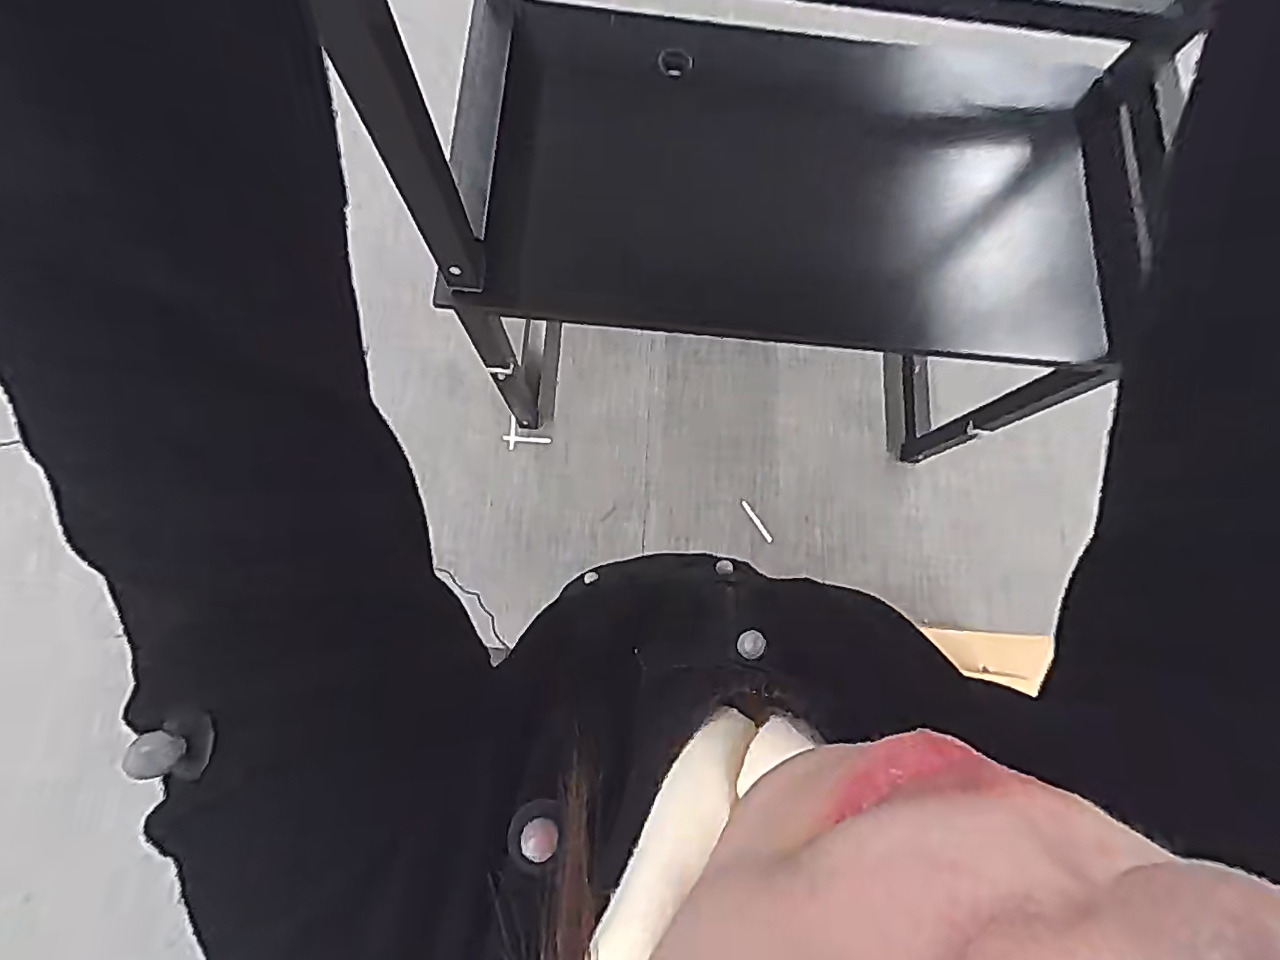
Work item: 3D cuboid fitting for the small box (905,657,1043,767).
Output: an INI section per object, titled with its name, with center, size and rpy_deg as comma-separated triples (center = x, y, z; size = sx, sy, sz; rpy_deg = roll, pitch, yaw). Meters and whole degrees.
[small box]
center = 0.670, 0.461, 1.097
size = 0.179, 0.176, 0.168
rpy_deg = 8, 78, -2

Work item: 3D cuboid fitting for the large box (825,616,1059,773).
[large box]
center = 0.715, 0.508, 1.341
size = 0.408, 0.320, 0.320
rpy_deg = 4, 80, -4
